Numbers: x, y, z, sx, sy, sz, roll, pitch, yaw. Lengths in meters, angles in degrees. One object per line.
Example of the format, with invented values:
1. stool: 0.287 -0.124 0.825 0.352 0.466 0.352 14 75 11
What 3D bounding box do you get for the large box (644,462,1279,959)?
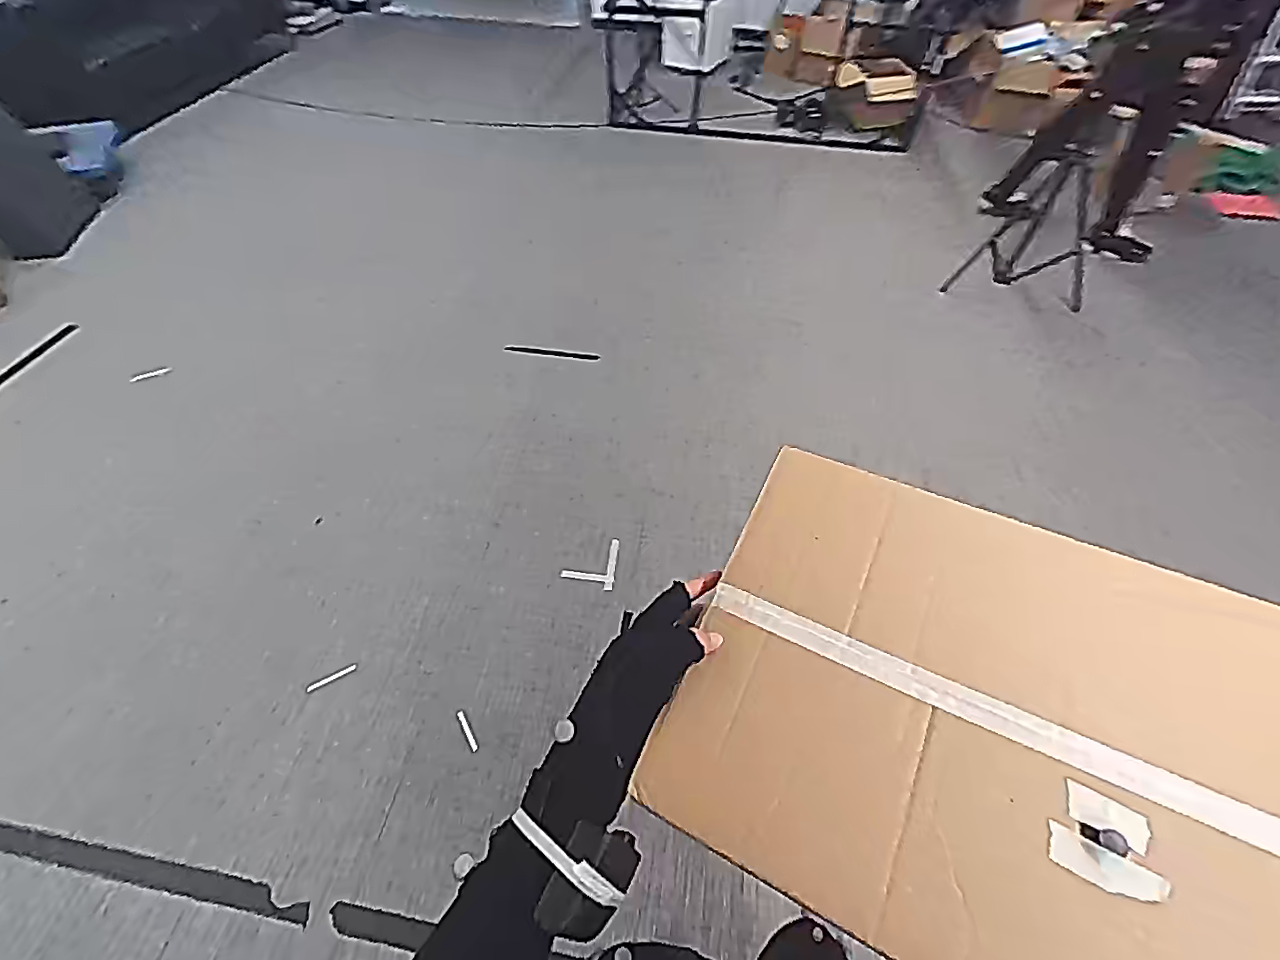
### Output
1. large box: 0.258 0.241 0.506 0.408 0.320 0.320 21 64 20
